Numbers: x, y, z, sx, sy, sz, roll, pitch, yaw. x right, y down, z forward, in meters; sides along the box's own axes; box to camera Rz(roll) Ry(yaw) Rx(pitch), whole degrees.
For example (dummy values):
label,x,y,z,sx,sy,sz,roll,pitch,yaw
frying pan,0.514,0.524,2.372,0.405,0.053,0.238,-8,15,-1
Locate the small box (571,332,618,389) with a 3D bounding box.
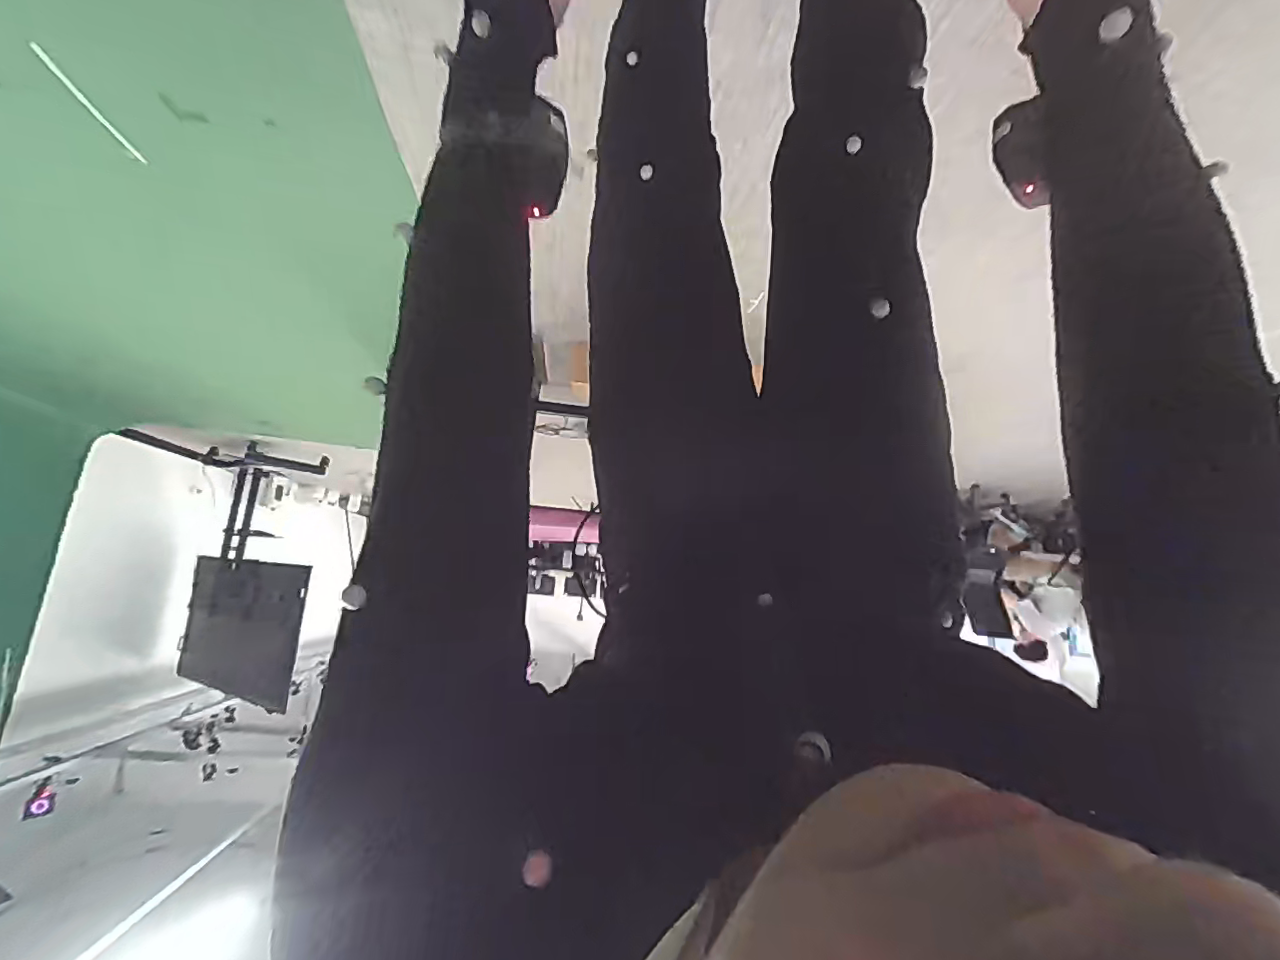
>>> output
label,x,y,z,sx,sy,sz,roll,pitch,yaw
small box,-0.181,-0.478,2.158,0.179,0.176,0.168,6,169,-4
